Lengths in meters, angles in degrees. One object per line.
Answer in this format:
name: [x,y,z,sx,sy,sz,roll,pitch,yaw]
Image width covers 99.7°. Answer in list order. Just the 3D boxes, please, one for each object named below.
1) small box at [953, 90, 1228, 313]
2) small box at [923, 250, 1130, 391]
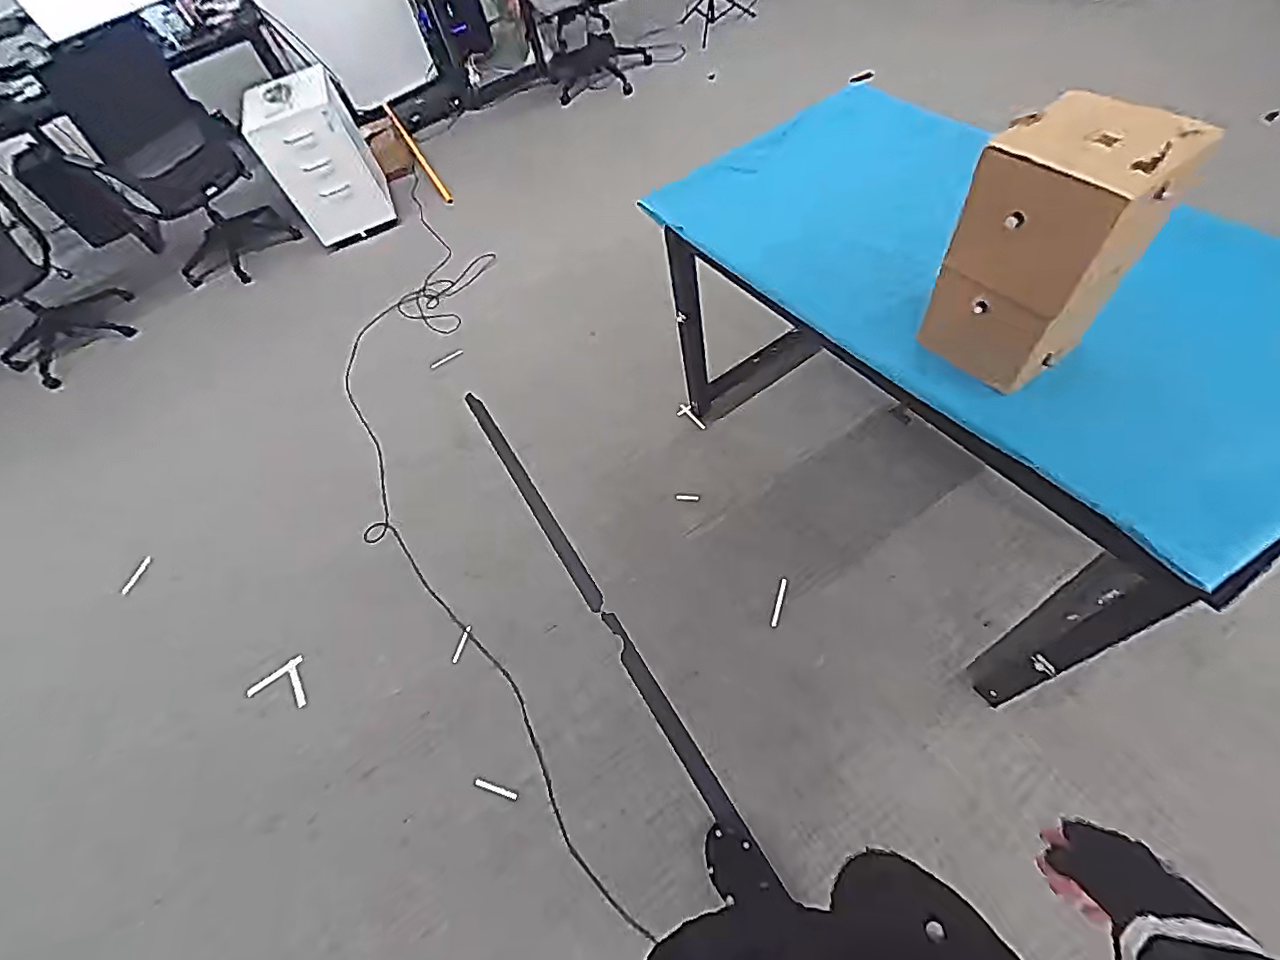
small box: [0.538,-0.344,0.679,0.168,0.176,0.179,-37,59,-12]
small box: [0.569,-0.268,0.819,0.168,0.176,0.179,-34,57,-9]
